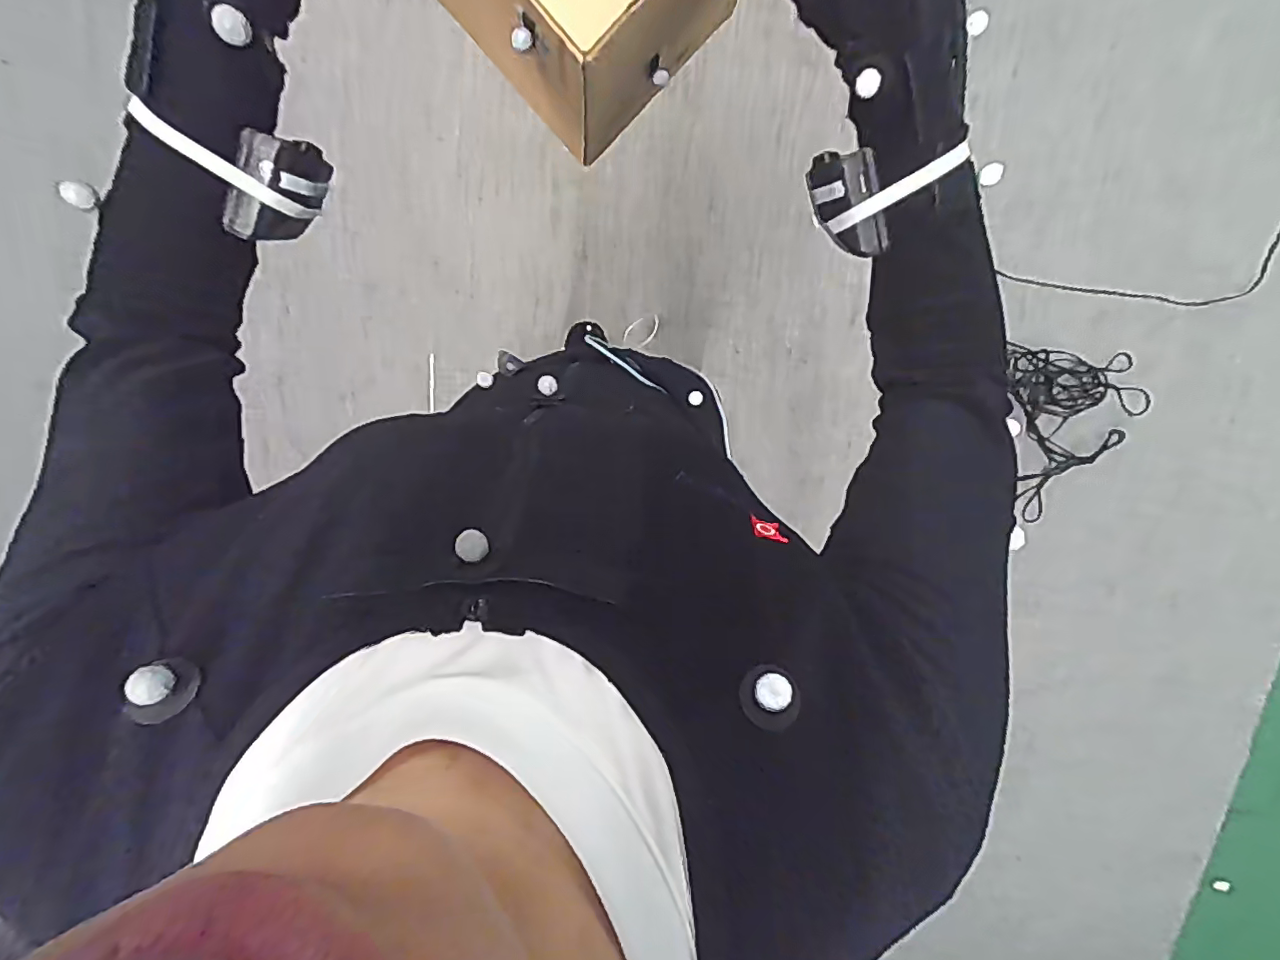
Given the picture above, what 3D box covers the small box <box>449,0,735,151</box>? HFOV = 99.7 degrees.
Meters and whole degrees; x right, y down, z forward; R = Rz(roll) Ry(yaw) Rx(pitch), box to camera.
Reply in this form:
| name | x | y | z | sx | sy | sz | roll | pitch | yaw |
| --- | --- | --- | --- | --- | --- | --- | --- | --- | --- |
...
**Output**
| name | x | y | z | sx | sy | sz | roll | pitch | yaw |
| --- | --- | --- | --- | --- | --- | --- | --- | --- | --- |
| small box | -0.036 | -0.357 | 0.341 | 0.168 | 0.176 | 0.179 | -44 | 105 | 5 |
